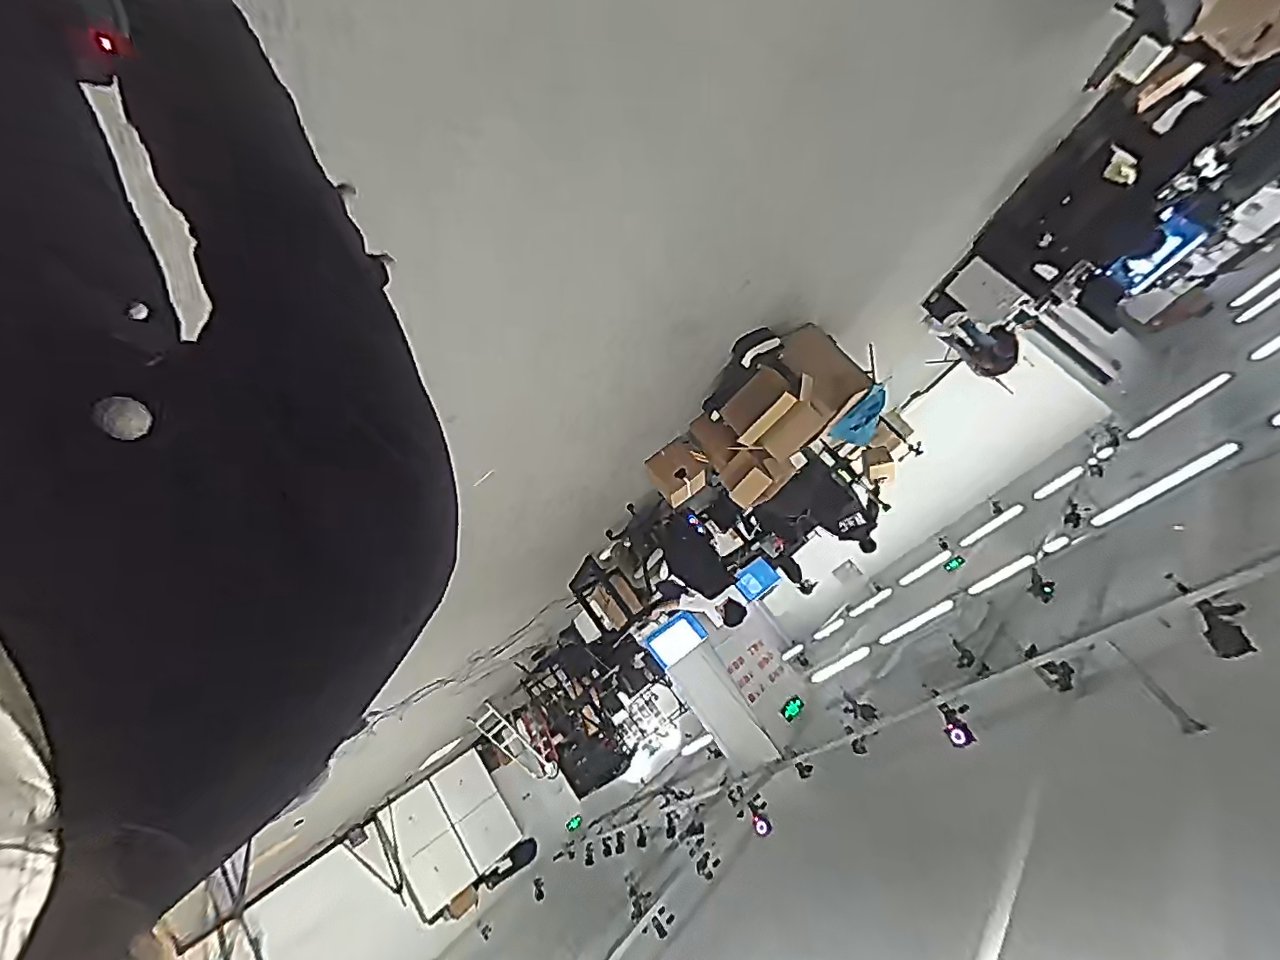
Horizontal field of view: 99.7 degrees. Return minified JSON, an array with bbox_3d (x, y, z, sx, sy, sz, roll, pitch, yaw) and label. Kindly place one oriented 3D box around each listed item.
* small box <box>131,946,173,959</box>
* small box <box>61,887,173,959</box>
[{"bbox_3d":[-1.388,1.422,1.475,0.168,0.176,0.179,-27,158,-36],"label":"small box"},{"bbox_3d":[-1.480,1.302,1.536,0.179,0.176,0.168,-22,156,-39],"label":"small box"}]
